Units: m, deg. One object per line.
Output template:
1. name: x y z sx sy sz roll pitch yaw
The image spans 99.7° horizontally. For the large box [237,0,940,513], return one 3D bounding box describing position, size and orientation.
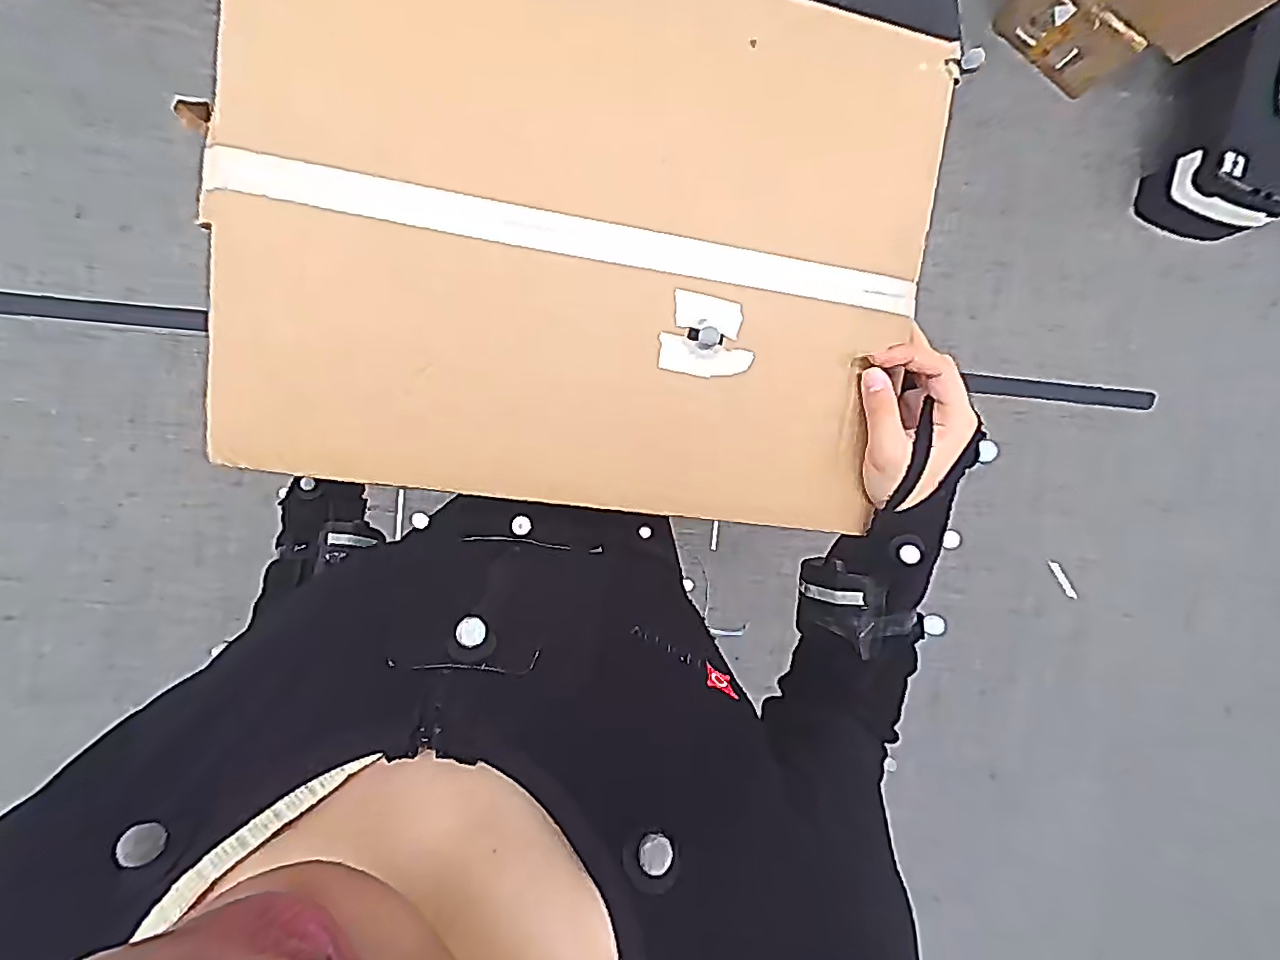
1. large box: -0.045 -0.165 0.470 0.408 0.320 0.320 7 97 -12
